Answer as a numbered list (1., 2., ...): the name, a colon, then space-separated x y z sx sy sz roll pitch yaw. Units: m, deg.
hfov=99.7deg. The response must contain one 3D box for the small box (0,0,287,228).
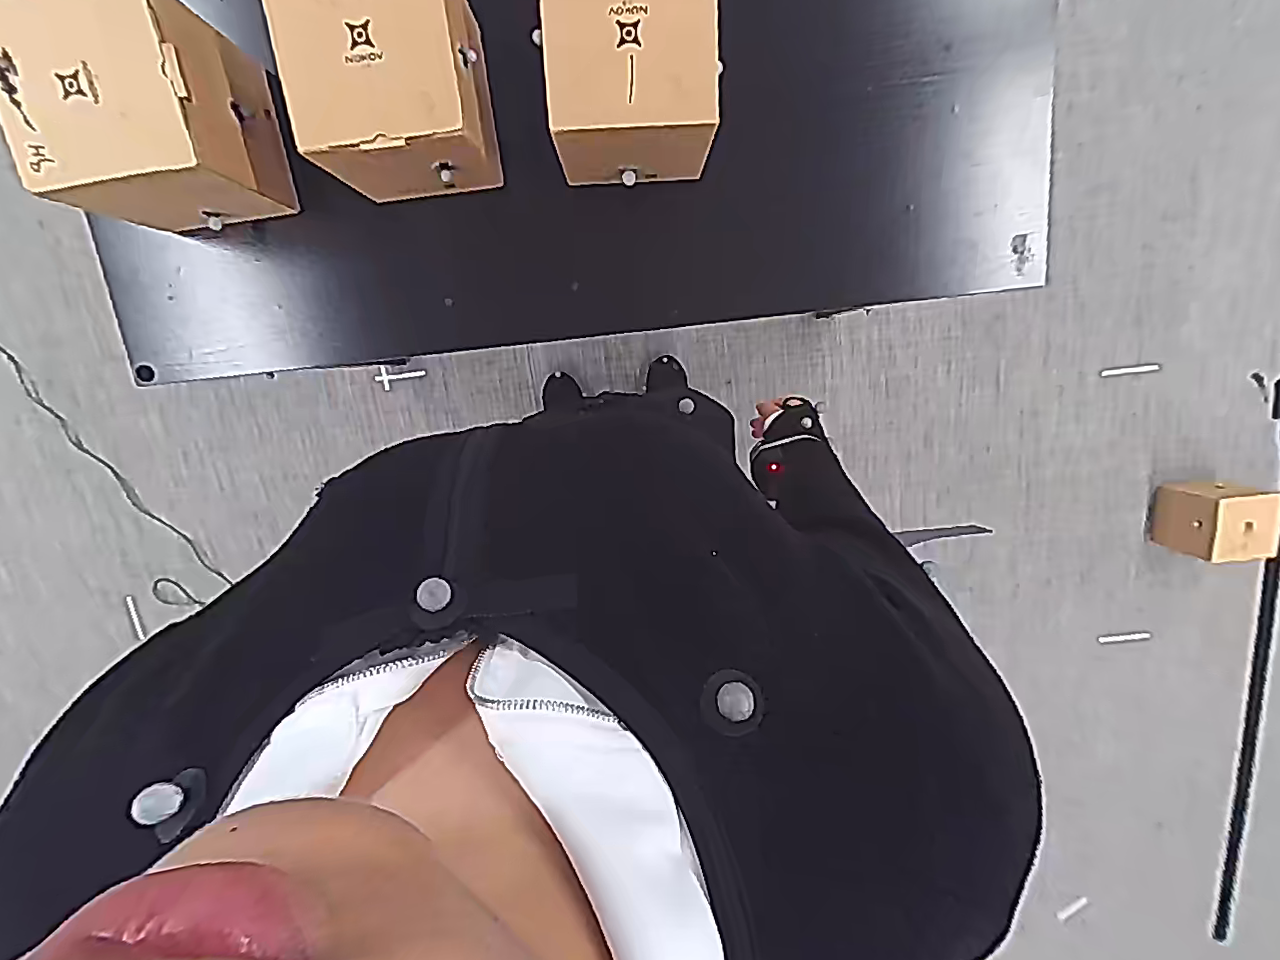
1. small box: -0.518 -0.386 0.581 0.179 0.176 0.168 -9 102 -1

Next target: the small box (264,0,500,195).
1. small box: -0.259 -0.424 0.580 0.168 0.176 0.179 -7 101 0

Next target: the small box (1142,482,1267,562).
1. small box: 1.530 0.107 1.477 0.168 0.176 0.179 -6 103 1

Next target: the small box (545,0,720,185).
1. small box: -0.010 -0.439 0.581 0.168 0.176 0.179 -2 103 -1
